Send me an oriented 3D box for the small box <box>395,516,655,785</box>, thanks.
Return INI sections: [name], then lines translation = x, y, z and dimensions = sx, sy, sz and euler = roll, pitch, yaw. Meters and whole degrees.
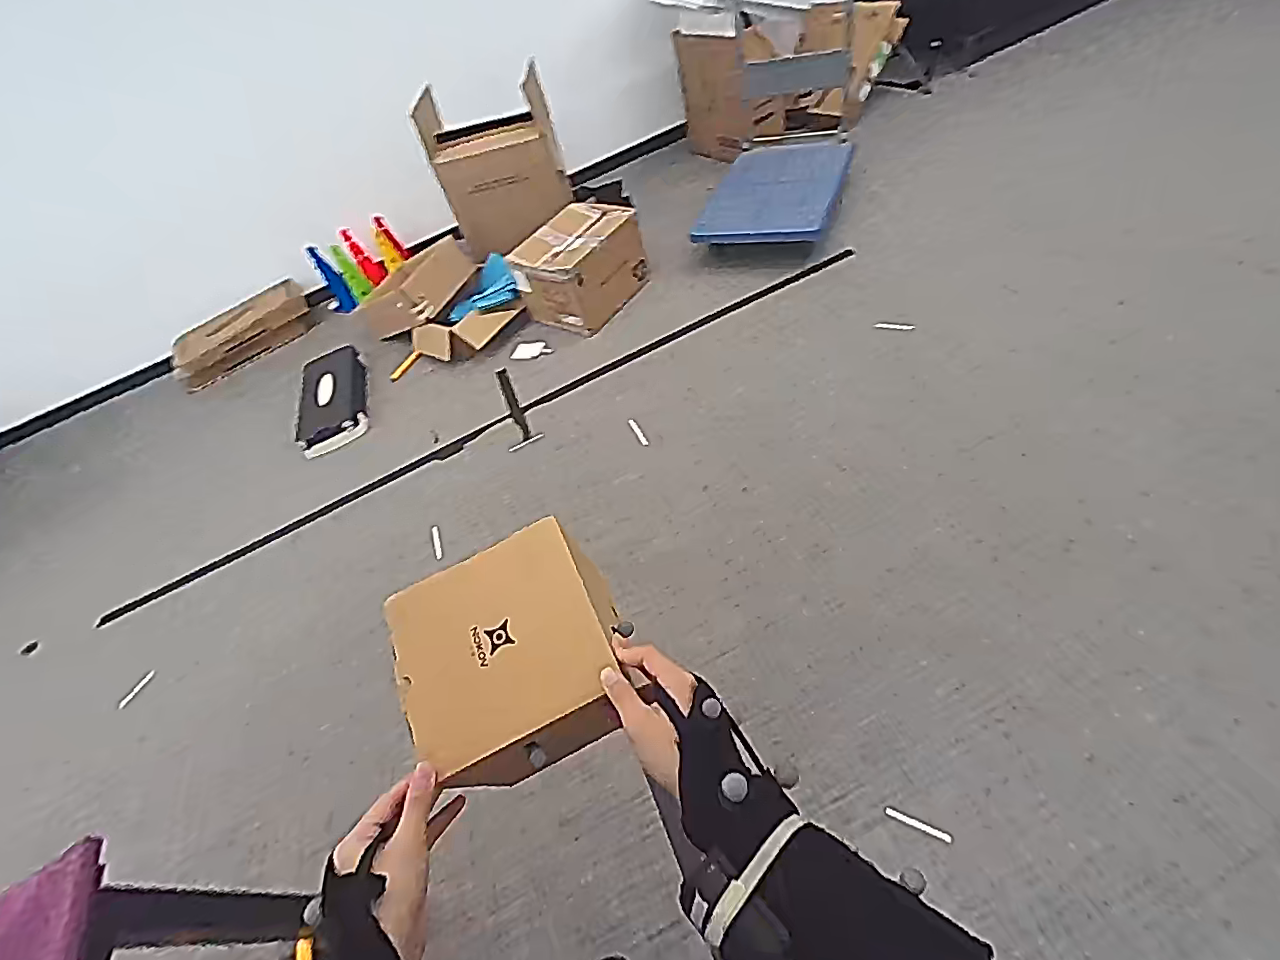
[small box]
translation = -0.097, 0.167, 0.520
dimensions = 0.179, 0.176, 0.168
euler = -27, 60, -1
